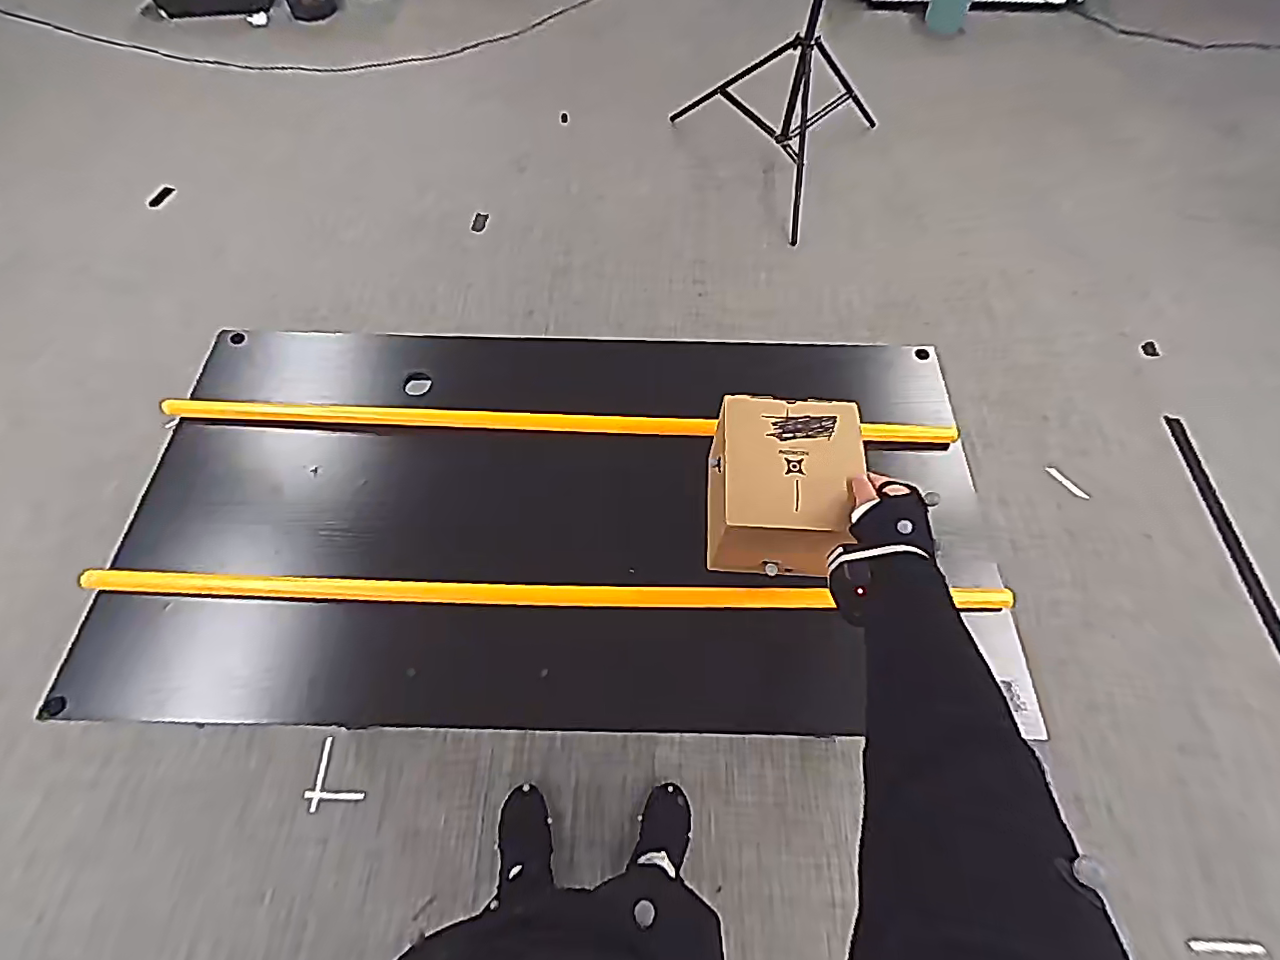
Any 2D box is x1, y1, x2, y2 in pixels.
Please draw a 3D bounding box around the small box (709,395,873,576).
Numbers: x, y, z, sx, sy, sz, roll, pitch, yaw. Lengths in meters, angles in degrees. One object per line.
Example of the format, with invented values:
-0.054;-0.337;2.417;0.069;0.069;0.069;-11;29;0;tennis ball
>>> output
0.182;0.012;0.705;0.168;0.176;0.179;4;64;2;small box
